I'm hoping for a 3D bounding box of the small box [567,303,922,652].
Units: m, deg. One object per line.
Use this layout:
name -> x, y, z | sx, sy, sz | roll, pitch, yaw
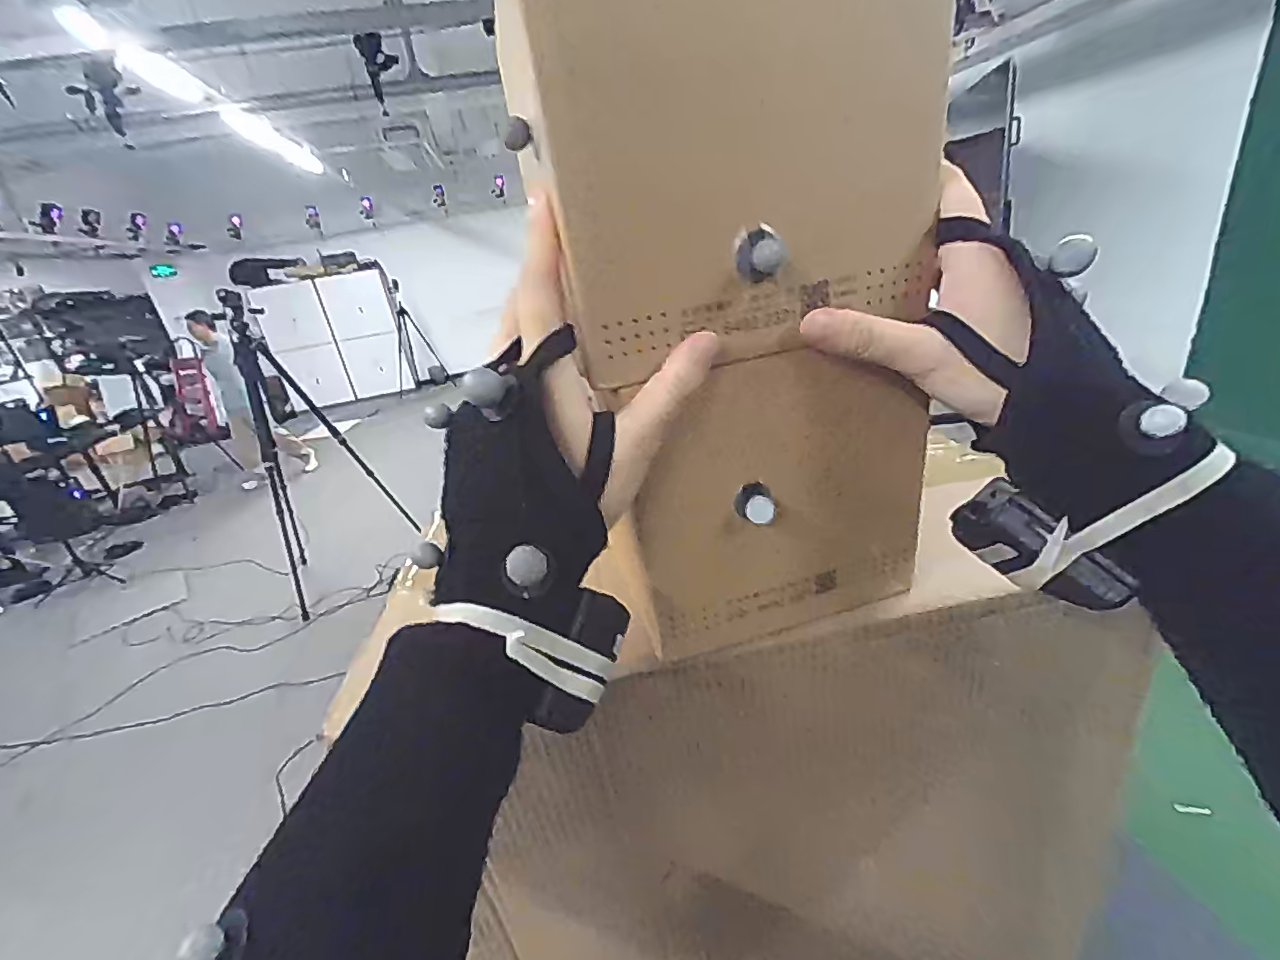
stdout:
small box -> 0.057, -0.009, 0.362 | 0.168, 0.176, 0.179 | -14, 25, -9
